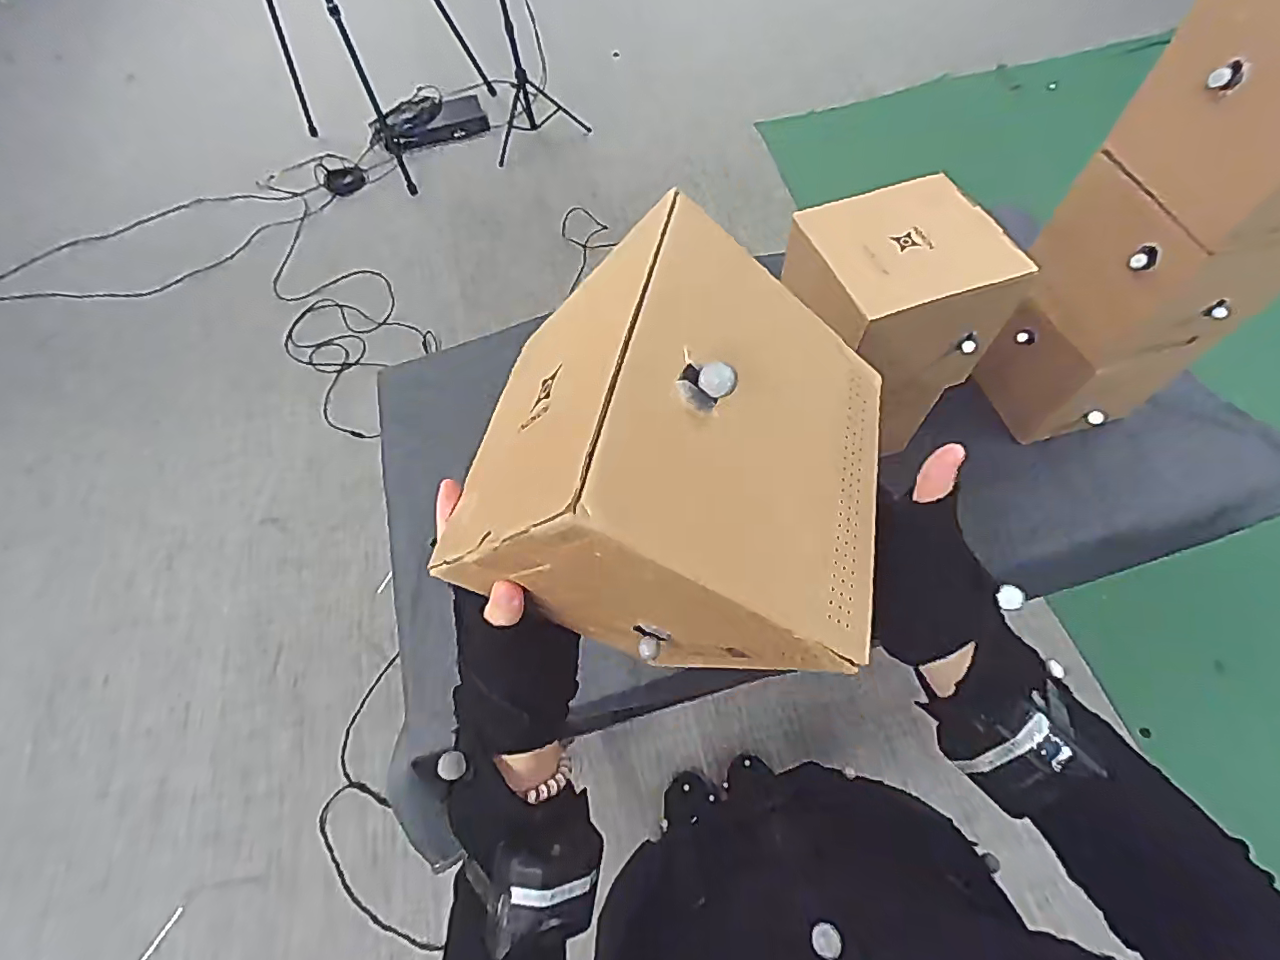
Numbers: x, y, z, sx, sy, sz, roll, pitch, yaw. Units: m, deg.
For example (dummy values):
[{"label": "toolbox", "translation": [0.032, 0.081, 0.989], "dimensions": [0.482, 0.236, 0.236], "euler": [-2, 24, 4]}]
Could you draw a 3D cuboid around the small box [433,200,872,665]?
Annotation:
[{"label": "small box", "translation": [0.015, -0.006, 0.316], "dimensions": [0.176, 0.168, 0.179], "euler": [29, 59, -27]}]

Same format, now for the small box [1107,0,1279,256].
[{"label": "small box", "translation": [0.573, -0.328, 0.466], "dimensions": [0.168, 0.176, 0.179], "euler": [-12, 61, 0]}]

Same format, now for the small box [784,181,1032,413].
[{"label": "small box", "translation": [0.272, -0.192, 0.609], "dimensions": [0.179, 0.176, 0.168], "euler": [-17, 61, -4]}]

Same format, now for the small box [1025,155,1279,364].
[{"label": "small box", "translation": [0.587, -0.251, 0.611], "dimensions": [0.168, 0.176, 0.179], "euler": [-13, 61, -2]}]
